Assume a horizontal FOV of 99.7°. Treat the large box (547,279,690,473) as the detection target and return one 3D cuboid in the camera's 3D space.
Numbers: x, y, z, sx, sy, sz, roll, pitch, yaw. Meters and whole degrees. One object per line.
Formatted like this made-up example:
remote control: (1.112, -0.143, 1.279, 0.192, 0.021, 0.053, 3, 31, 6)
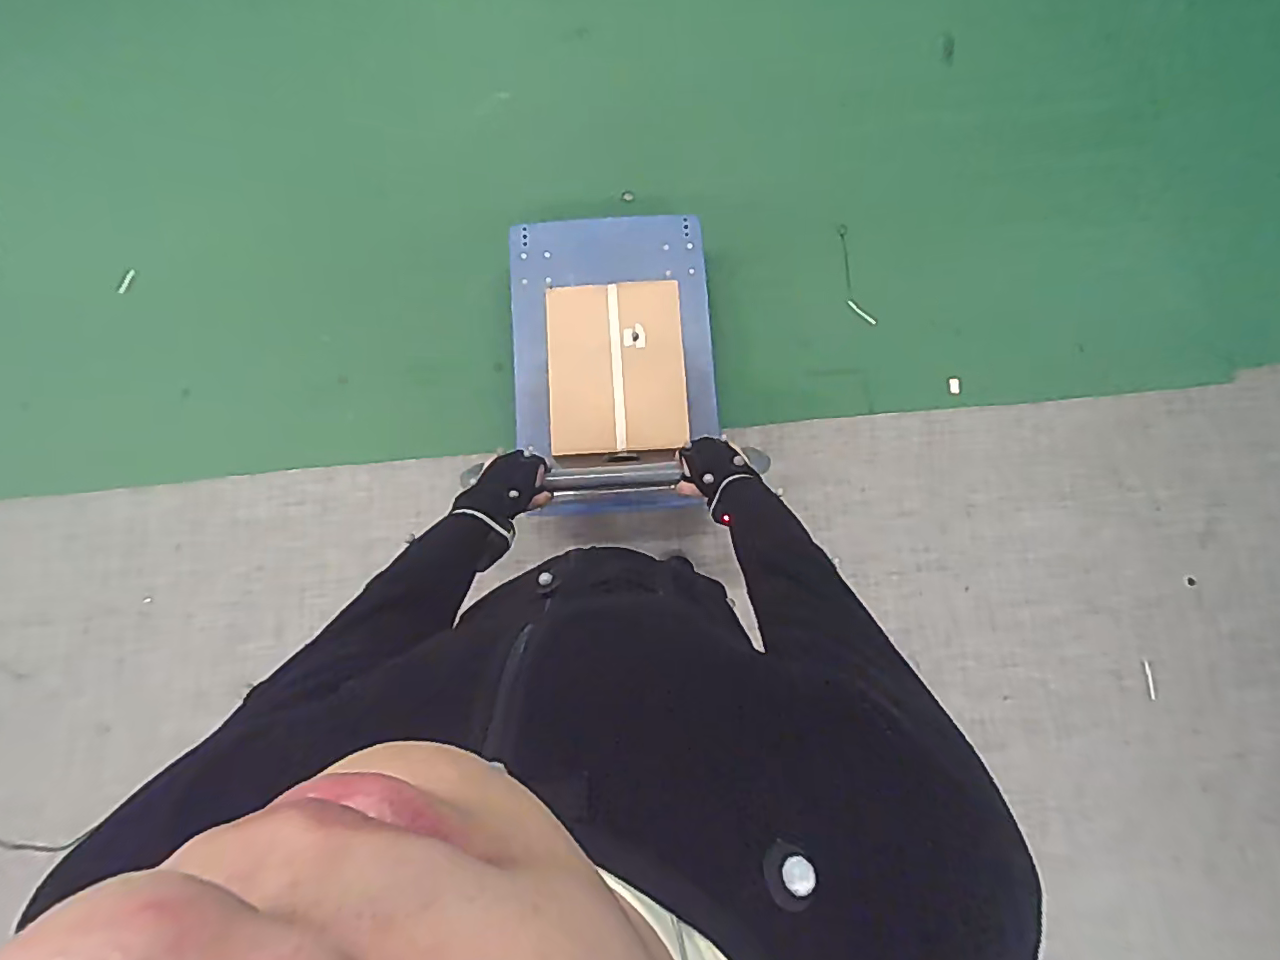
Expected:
large box: (-0.052, -0.247, 1.392, 0.320, 0.320, 0.408, -3, 82, -1)
